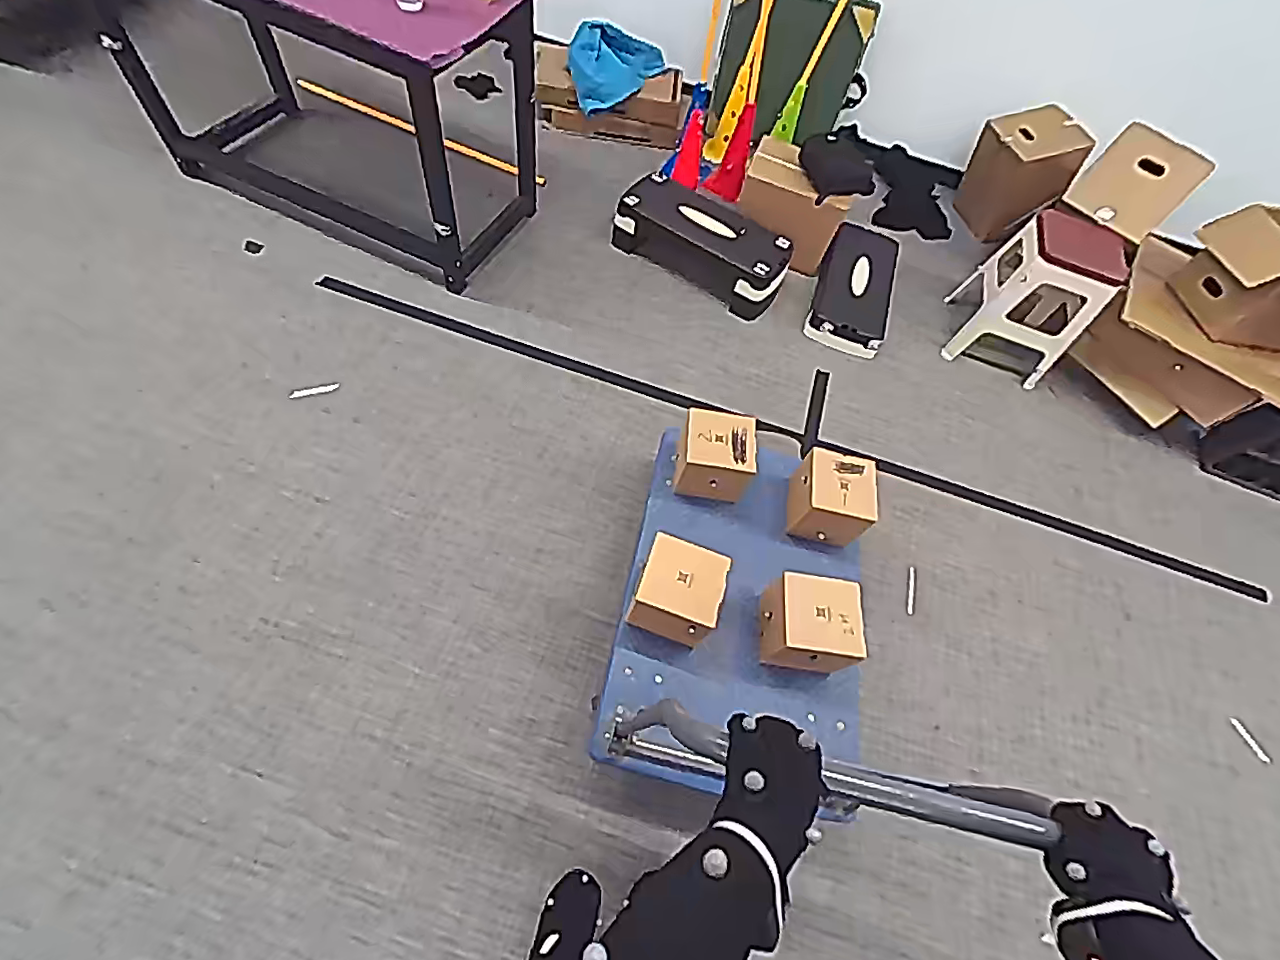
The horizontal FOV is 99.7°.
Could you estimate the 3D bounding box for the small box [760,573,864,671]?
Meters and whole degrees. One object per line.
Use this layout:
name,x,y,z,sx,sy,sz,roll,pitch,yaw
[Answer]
small box,0.378,0.327,1.225,0.179,0.176,0.168,10,60,-4

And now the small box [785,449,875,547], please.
small box,0.487,0.050,1.401,0.168,0.176,0.179,13,60,-2

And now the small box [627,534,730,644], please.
small box,0.081,0.252,1.218,0.179,0.176,0.168,20,59,0
